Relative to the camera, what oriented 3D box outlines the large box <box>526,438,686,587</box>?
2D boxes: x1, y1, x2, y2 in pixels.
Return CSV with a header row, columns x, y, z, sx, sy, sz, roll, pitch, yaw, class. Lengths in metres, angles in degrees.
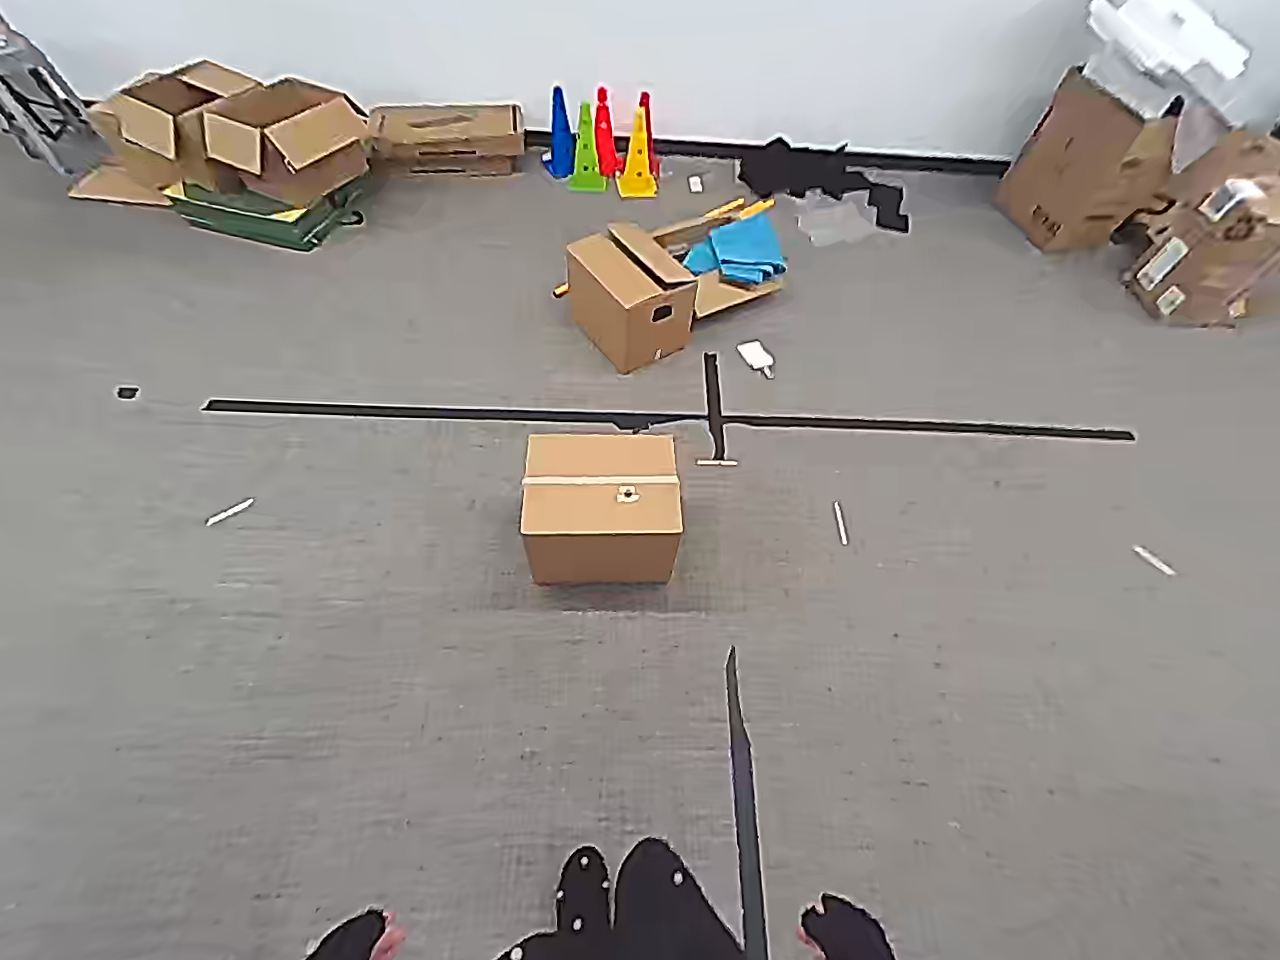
x,y,z,sx,sy,sz,roll,pitch,yaw,class
-0.102,0.097,1.534,0.408,0.320,0.320,0,57,-5,large box
